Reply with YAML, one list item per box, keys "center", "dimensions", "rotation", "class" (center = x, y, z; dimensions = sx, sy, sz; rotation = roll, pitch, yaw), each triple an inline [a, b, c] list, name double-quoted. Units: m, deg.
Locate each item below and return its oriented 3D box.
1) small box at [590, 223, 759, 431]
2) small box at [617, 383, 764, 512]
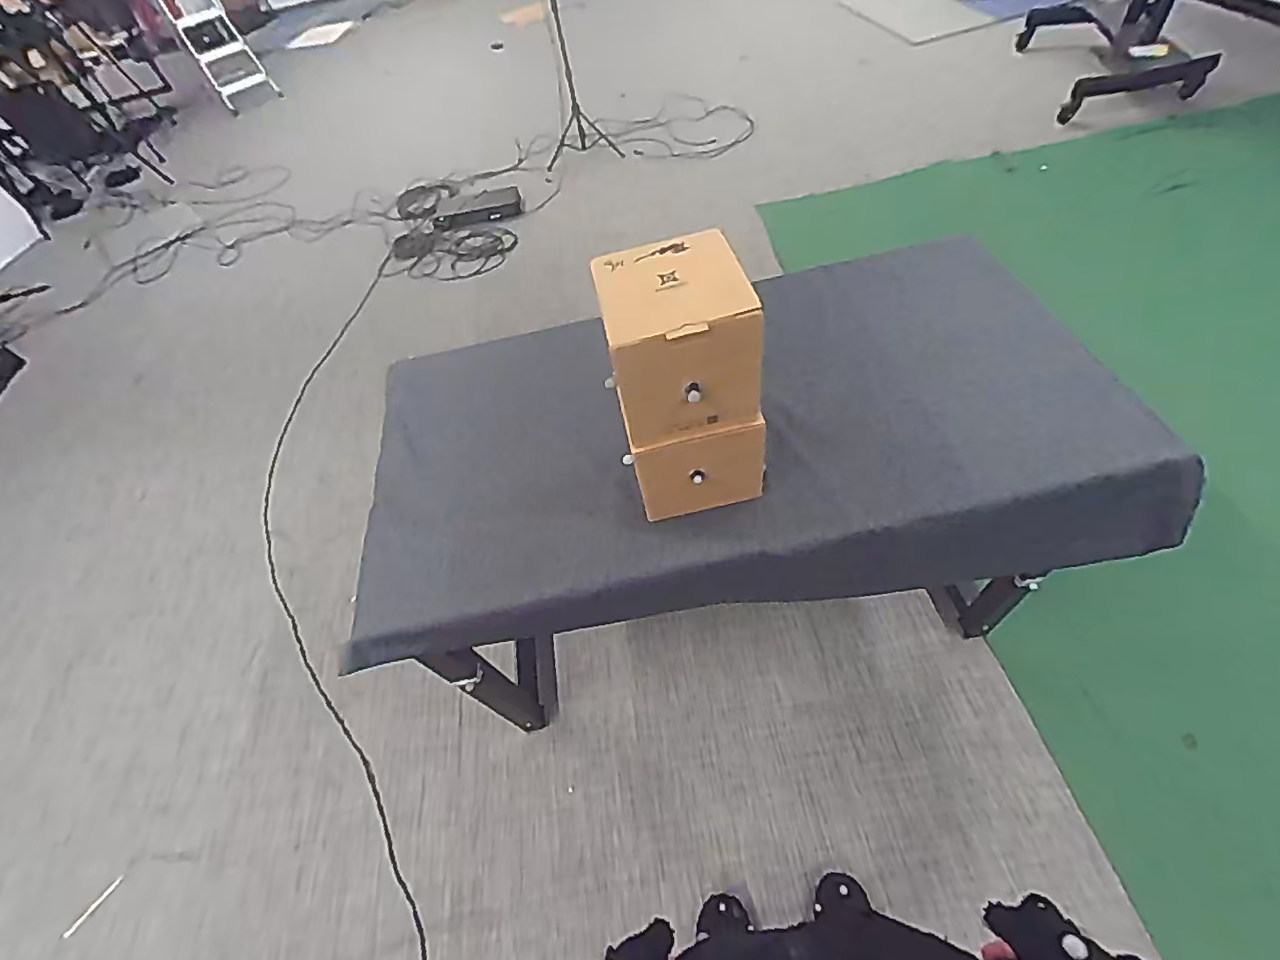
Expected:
- center: [0.044, -0.179, 0.672]
  dimensions: [0.168, 0.176, 0.179]
  rotation: [-13, 54, 0]
  class: "small box"
- center: [0.071, -0.075, 0.796]
  dimensions: [0.179, 0.176, 0.168]
  rotation: [-13, 53, 1]
  class: "small box"
